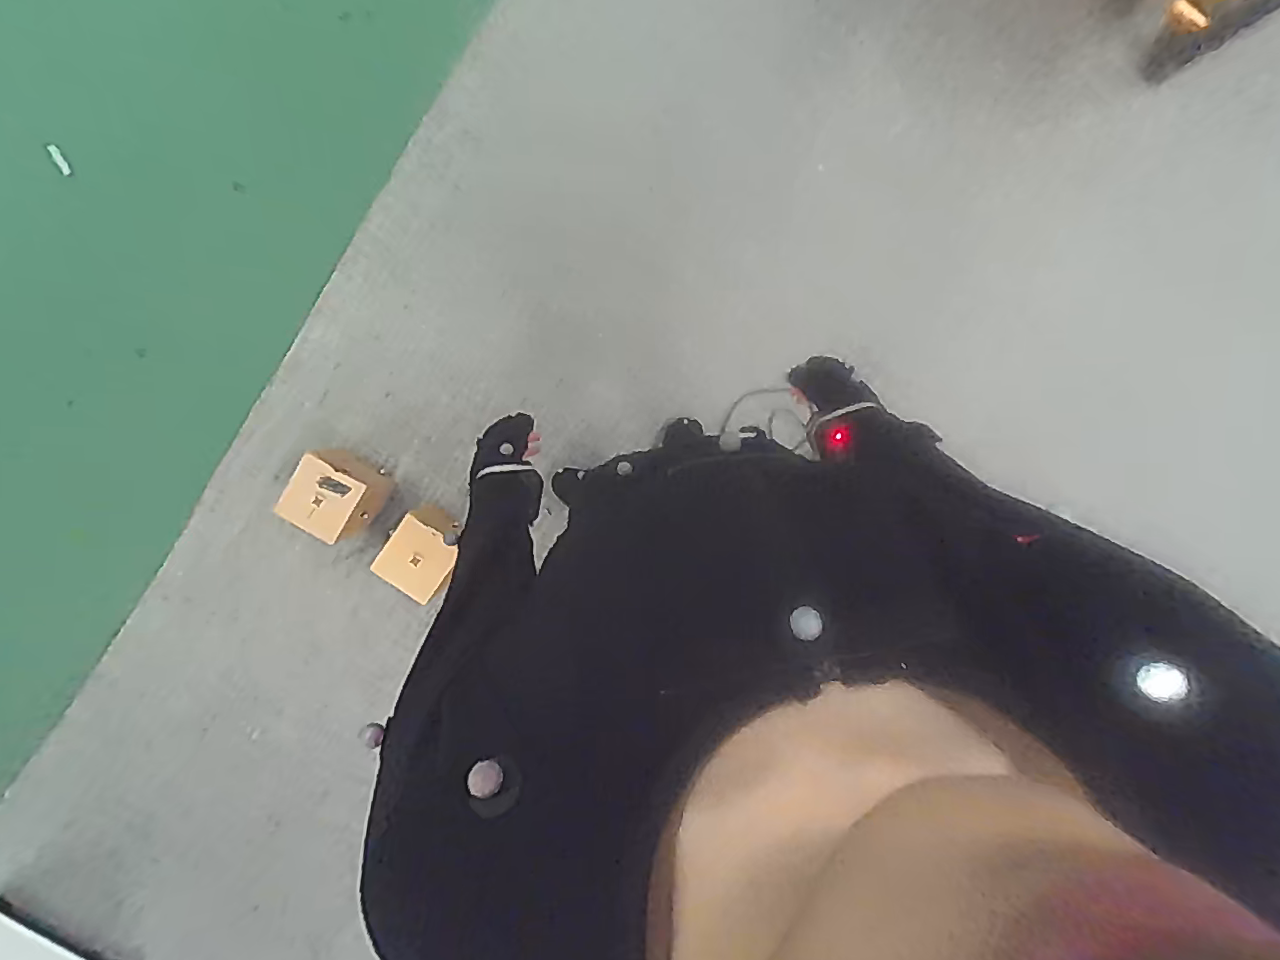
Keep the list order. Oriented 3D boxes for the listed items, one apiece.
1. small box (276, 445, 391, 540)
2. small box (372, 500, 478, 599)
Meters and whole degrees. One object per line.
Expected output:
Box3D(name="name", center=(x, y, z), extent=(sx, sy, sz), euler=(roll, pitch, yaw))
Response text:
Box3D(name="small box", center=(-0.770, 0.024, 1.385), extent=(0.168, 0.176, 0.179), euler=(32, 95, -4))
Box3D(name="small box", center=(-0.548, 0.174, 1.407), extent=(0.168, 0.176, 0.179), euler=(35, 95, -4))
